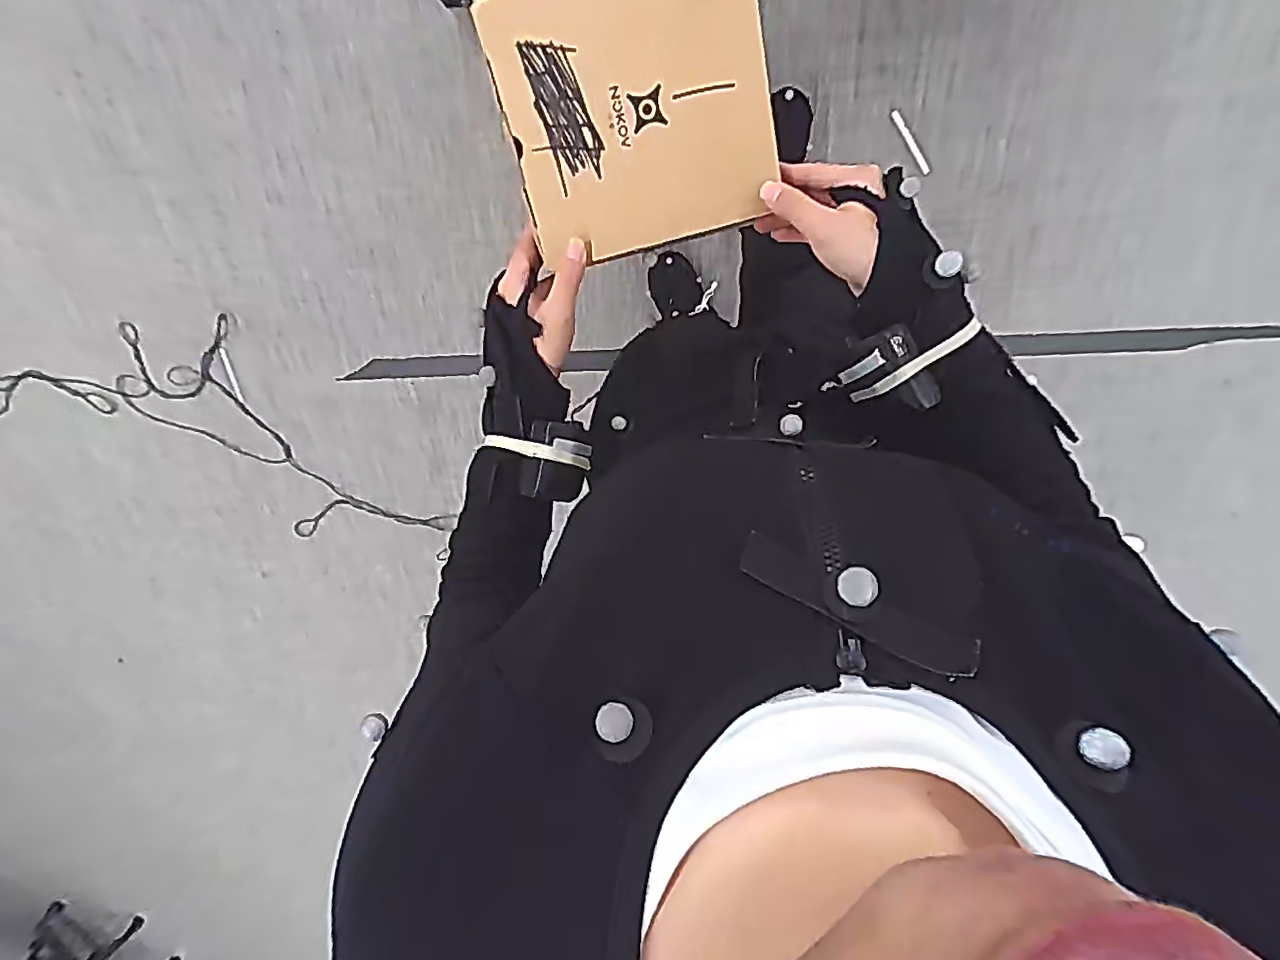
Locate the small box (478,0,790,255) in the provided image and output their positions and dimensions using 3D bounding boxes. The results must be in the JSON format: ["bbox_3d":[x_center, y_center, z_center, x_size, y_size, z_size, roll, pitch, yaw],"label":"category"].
[{"bbox_3d":[0.005,-0.279,0.420,0.179,0.176,0.168,-11,112,8],"label":"small box"}]
